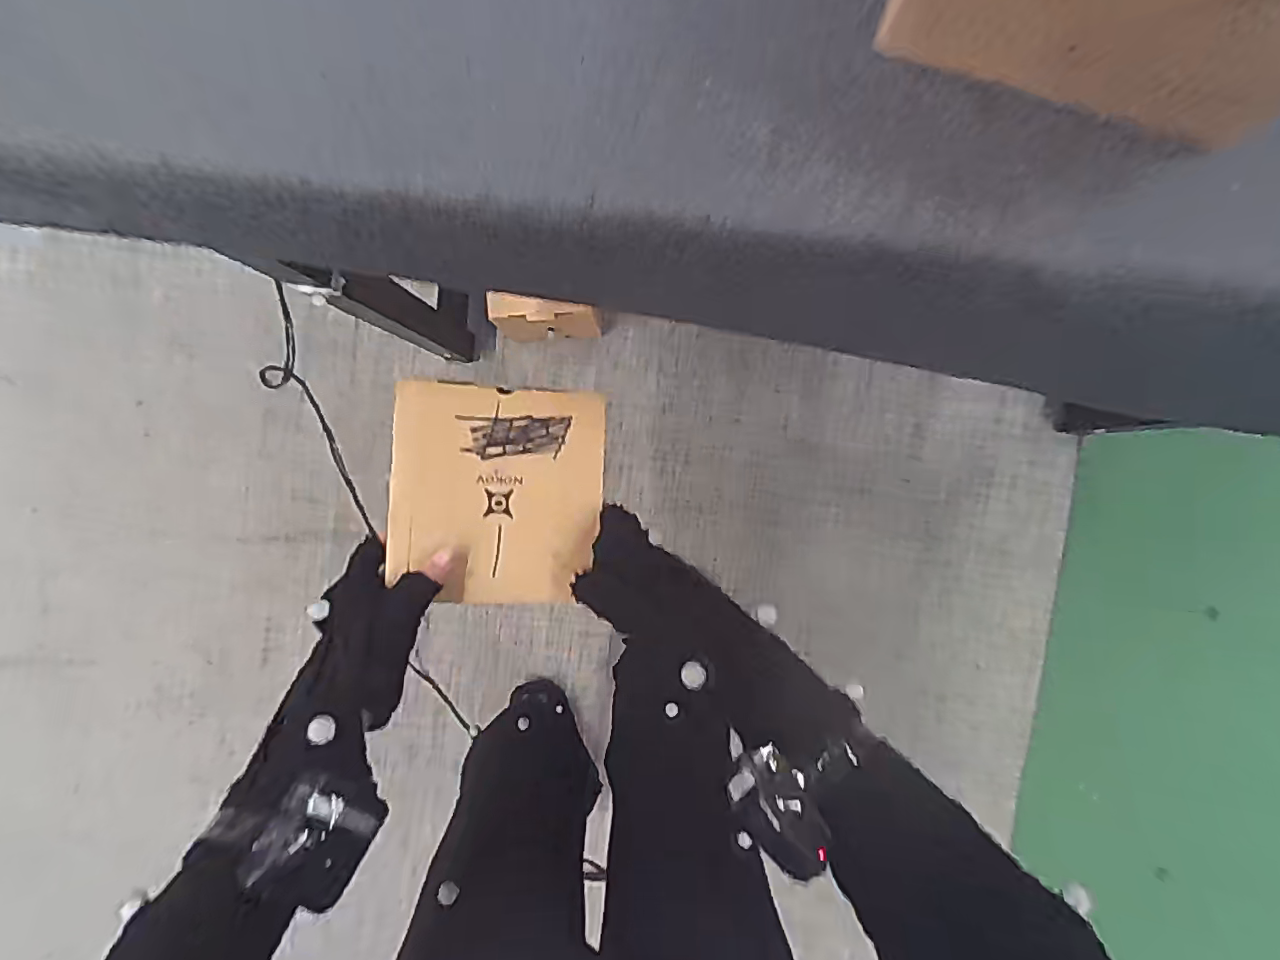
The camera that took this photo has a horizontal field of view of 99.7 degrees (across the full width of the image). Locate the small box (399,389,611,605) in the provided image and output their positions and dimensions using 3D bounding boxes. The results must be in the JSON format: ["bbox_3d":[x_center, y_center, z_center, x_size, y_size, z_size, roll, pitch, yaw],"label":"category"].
[{"bbox_3d":[-0.124,0.022,0.524,0.168,0.176,0.179,2,86,-12],"label":"small box"}]

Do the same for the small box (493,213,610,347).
[{"bbox_3d":[-0.141,-0.327,0.917,0.168,0.176,0.179,-2,92,1],"label":"small box"}]
